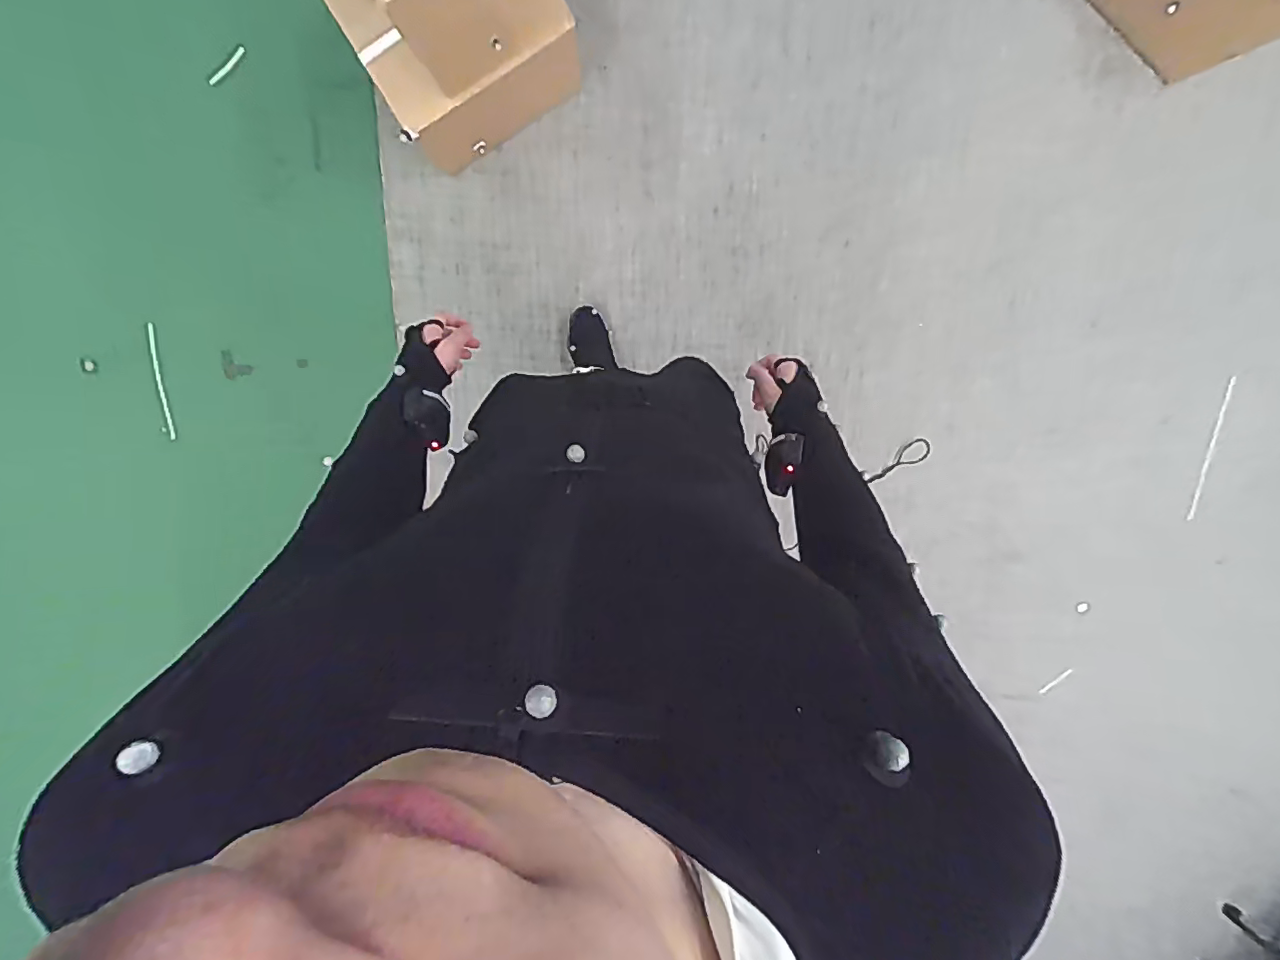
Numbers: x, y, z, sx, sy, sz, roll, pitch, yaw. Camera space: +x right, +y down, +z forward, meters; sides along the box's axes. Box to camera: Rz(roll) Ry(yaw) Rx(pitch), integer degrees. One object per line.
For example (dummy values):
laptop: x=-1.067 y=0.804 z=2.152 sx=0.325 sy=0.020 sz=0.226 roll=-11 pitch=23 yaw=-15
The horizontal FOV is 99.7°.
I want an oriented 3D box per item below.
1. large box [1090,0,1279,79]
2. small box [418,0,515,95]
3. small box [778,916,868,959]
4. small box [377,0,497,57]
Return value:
large box: x=1.329 y=-1.226 z=1.213 sx=0.408 sy=0.320 sz=0.320 roll=32 pitch=101 yaw=-11
small box: x=-0.340 y=-0.841 z=0.964 sx=0.179 sy=0.176 sz=0.168 roll=-30 pitch=106 yaw=6
small box: x=0.399 y=1.073 z=1.145 sx=0.168 sy=0.176 sz=0.179 roll=-2 pitch=108 yaw=-3
small box: x=-0.330 y=-0.793 z=0.807 sx=0.179 sy=0.176 sz=0.168 roll=-28 pitch=106 yaw=5
